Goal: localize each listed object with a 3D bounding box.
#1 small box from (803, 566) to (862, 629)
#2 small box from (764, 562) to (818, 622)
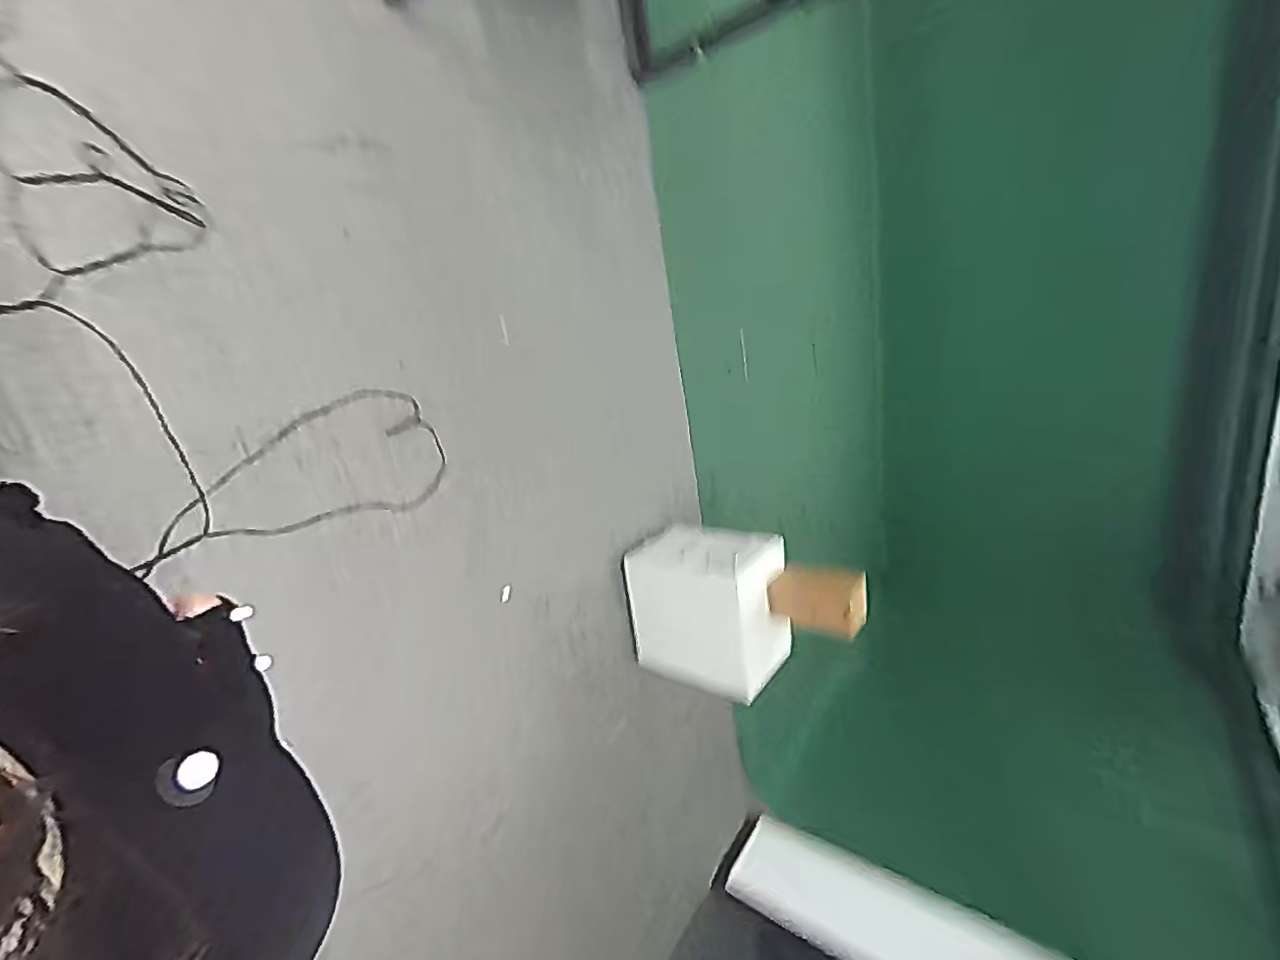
[{"bbox_3d":[0.745,0.446,2.086,0.179,0.176,0.168,-26,113,-46],"label":"small box"},{"bbox_3d":[0.617,0.445,2.188,0.179,0.176,0.168,-27,113,-47],"label":"small box"}]
